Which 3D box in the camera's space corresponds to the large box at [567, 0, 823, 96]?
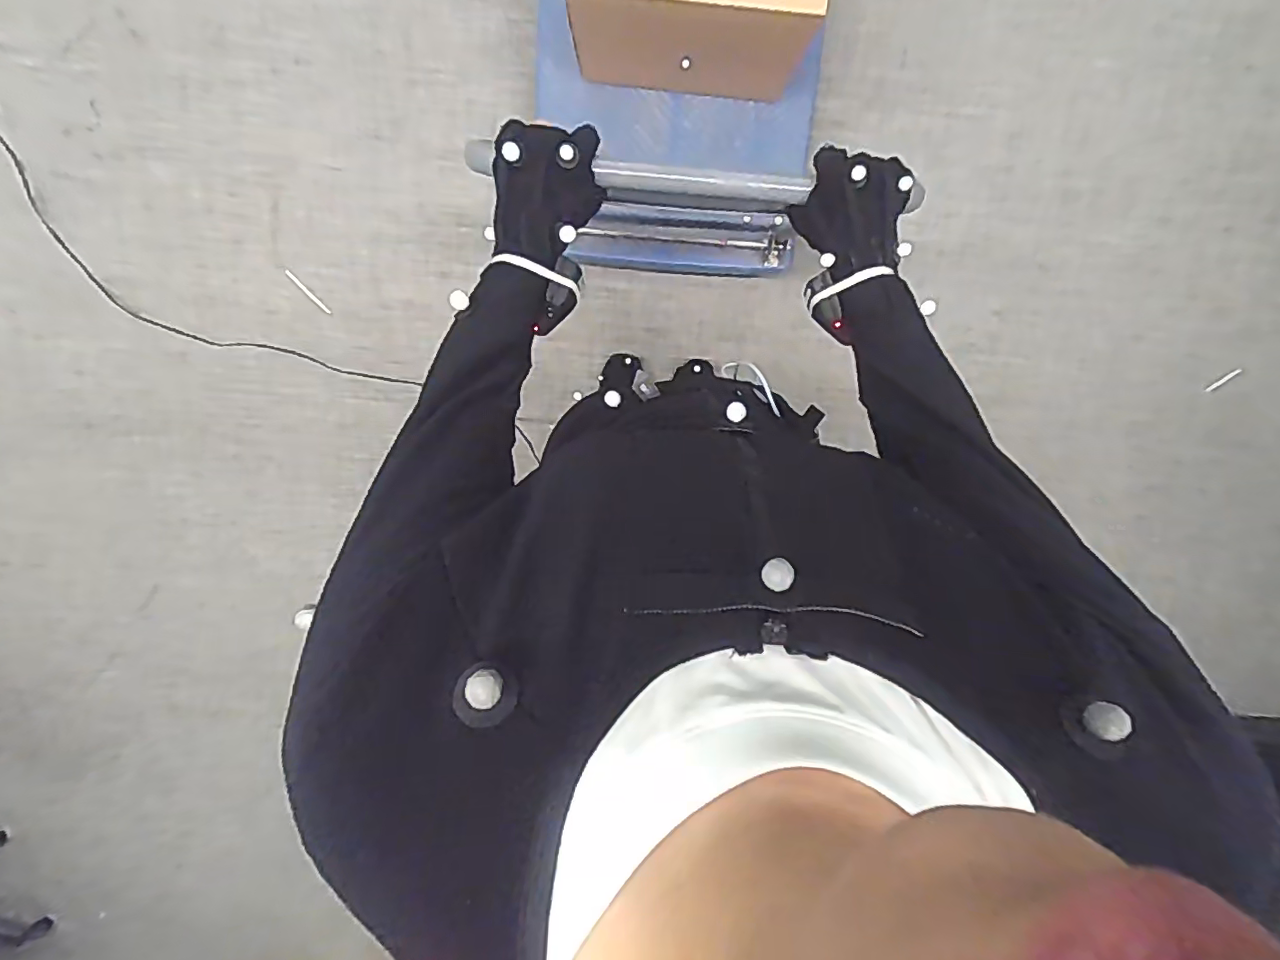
[{"bbox_3d":[0.095,-0.913,0.938,0.408,0.320,0.320,5,103,-1],"label":"large box"}]
